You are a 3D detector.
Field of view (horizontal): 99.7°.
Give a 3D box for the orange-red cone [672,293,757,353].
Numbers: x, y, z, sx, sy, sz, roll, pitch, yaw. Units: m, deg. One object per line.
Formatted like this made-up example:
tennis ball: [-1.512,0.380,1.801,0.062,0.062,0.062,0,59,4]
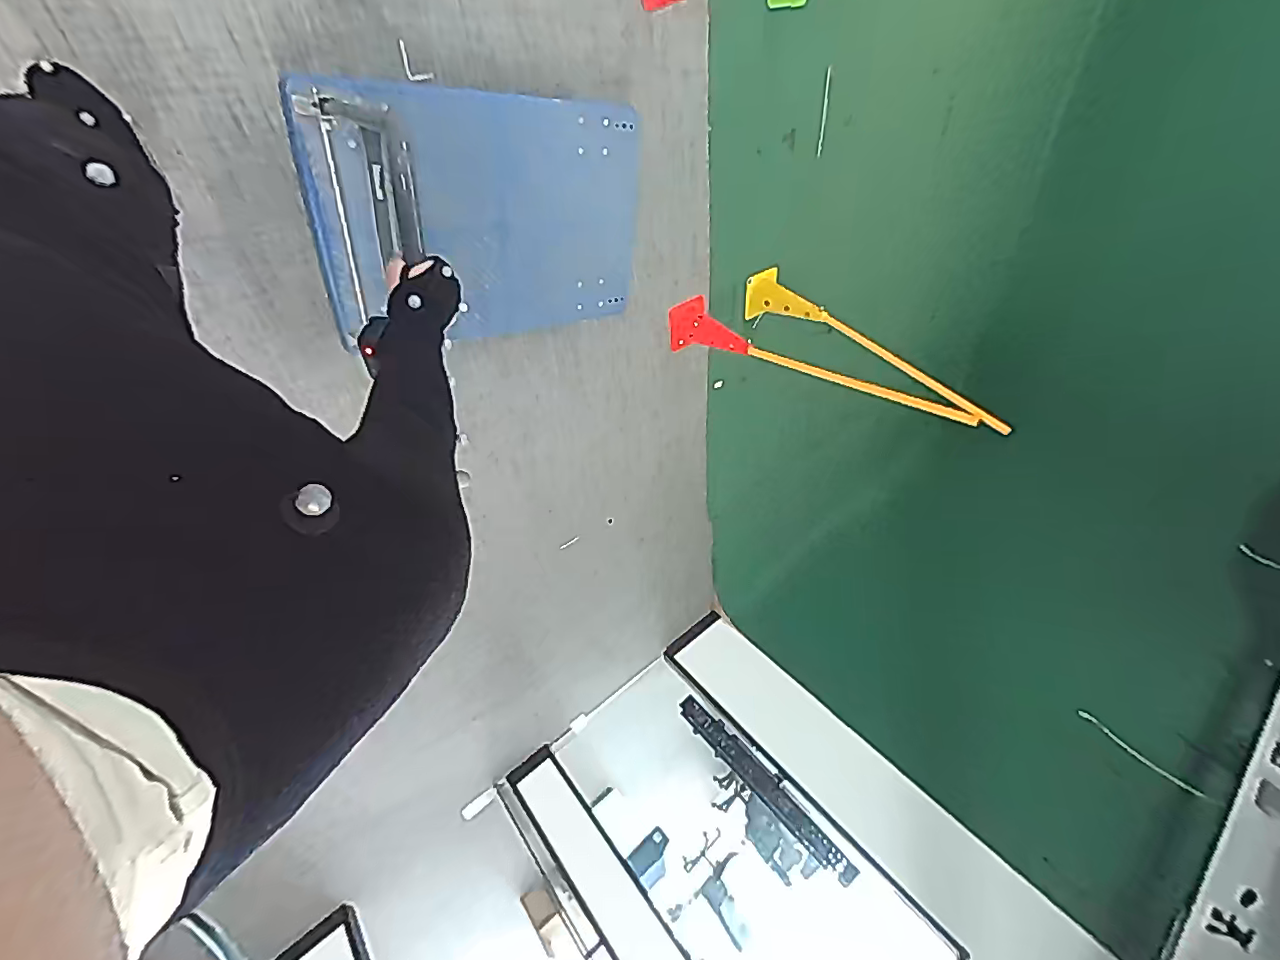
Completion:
orange-red cone: [0.320,-0.588,2.161,0.199,0.360,0.198,-32,138,-27]
